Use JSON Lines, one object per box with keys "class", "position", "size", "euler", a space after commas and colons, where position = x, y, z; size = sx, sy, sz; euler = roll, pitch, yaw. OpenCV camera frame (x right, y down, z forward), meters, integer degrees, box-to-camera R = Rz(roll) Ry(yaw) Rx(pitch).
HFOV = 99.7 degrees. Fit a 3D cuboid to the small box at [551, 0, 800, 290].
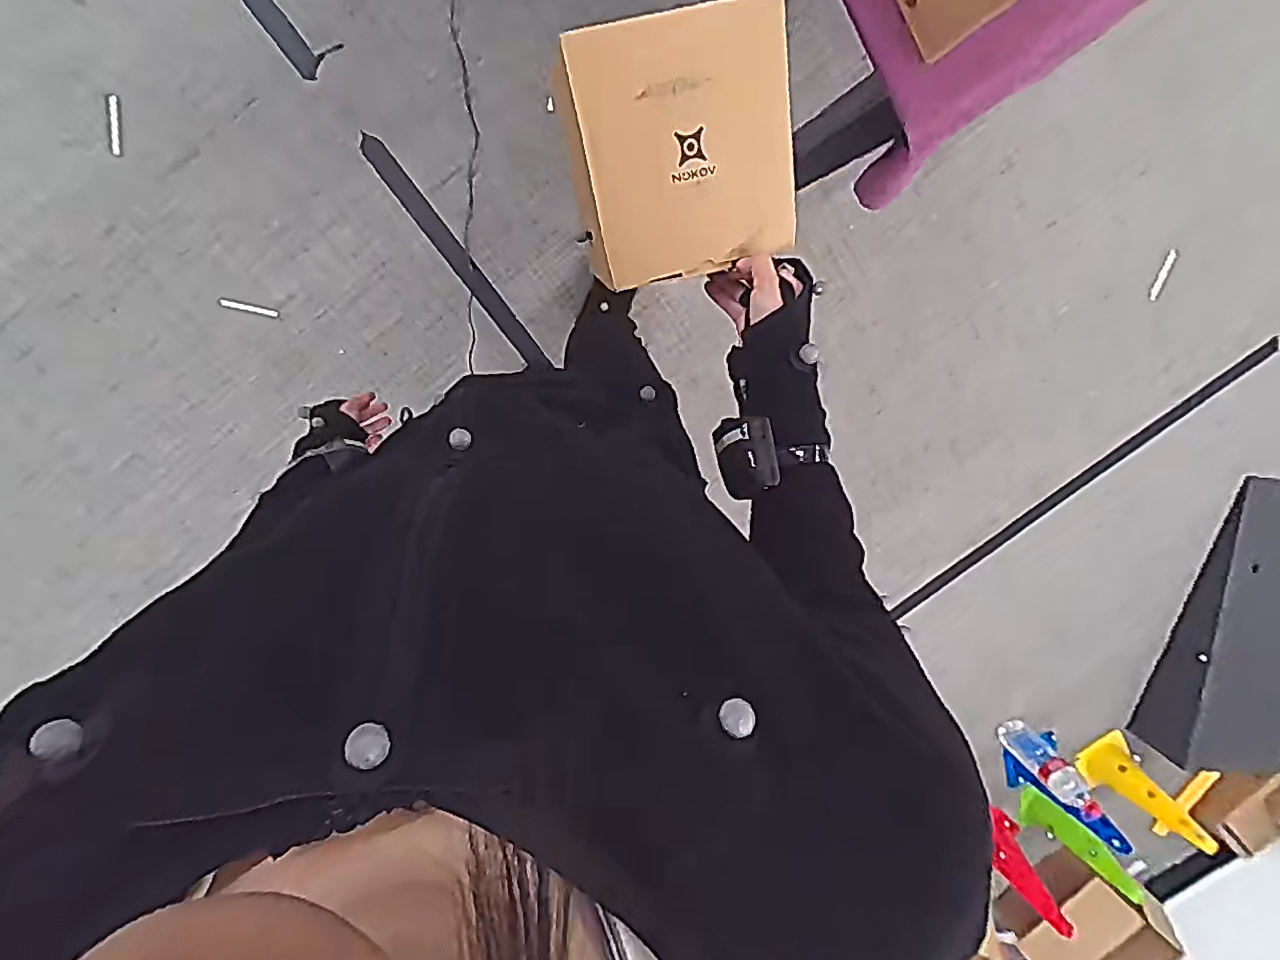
{"class": "small box", "position": [0.026, -0.287, 0.482], "size": [0.168, 0.176, 0.179], "euler": [-17, 119, -6]}
